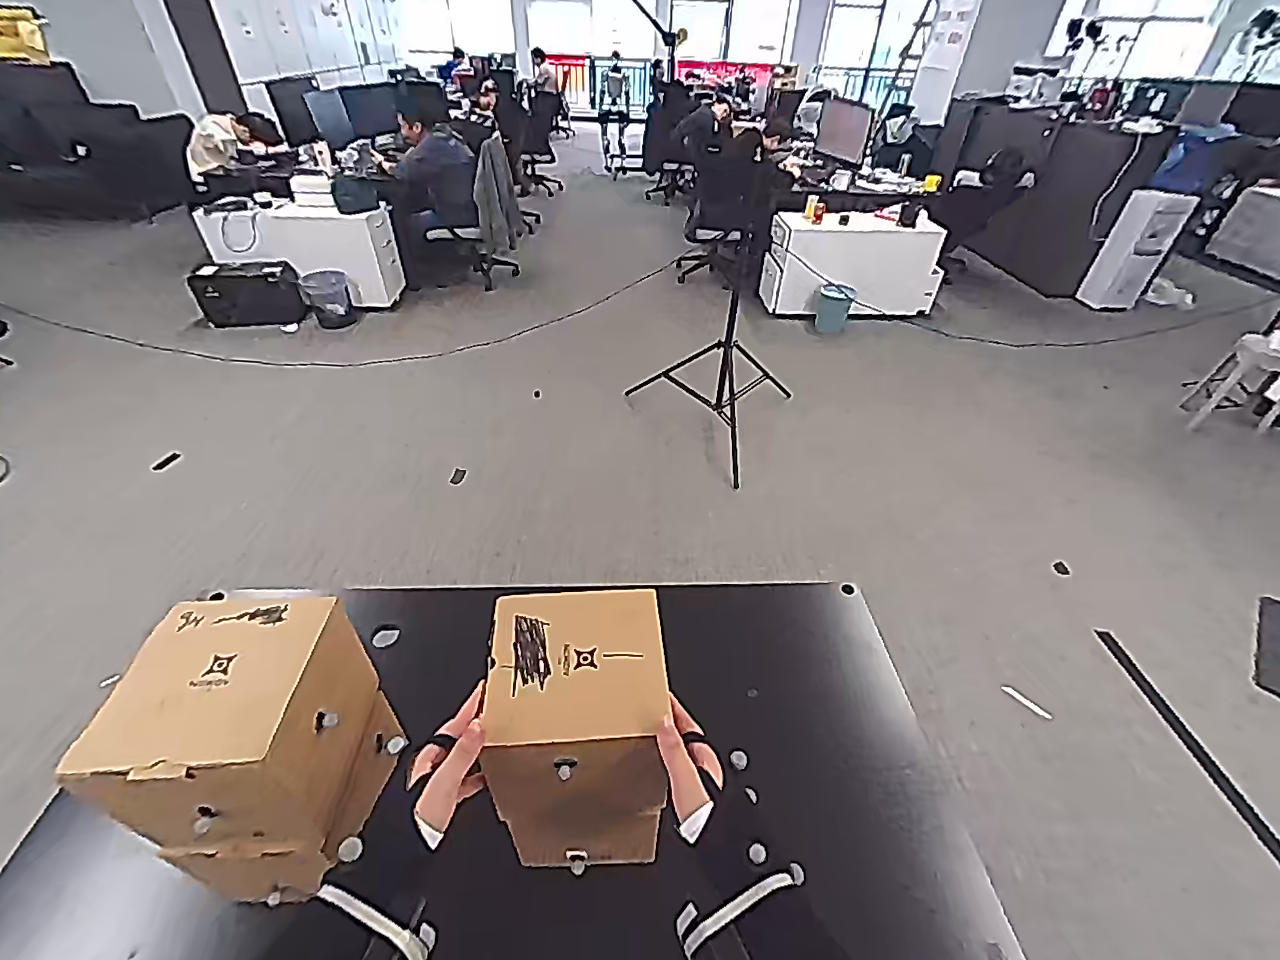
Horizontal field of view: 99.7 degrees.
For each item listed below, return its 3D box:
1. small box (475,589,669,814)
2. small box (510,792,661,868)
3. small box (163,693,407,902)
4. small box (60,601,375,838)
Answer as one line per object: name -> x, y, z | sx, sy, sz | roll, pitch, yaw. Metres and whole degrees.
small box -> -0.066, 0.239, 0.586 | 0.179, 0.176, 0.168 | -2, 39, -5
small box -> -0.065, 0.365, 0.693 | 0.168, 0.176, 0.179 | -2, 40, -3
small box -> -0.401, 0.381, 0.656 | 0.168, 0.176, 0.179 | 0, 39, -2
small box -> -0.400, 0.248, 0.559 | 0.168, 0.176, 0.179 | -1, 40, -4
